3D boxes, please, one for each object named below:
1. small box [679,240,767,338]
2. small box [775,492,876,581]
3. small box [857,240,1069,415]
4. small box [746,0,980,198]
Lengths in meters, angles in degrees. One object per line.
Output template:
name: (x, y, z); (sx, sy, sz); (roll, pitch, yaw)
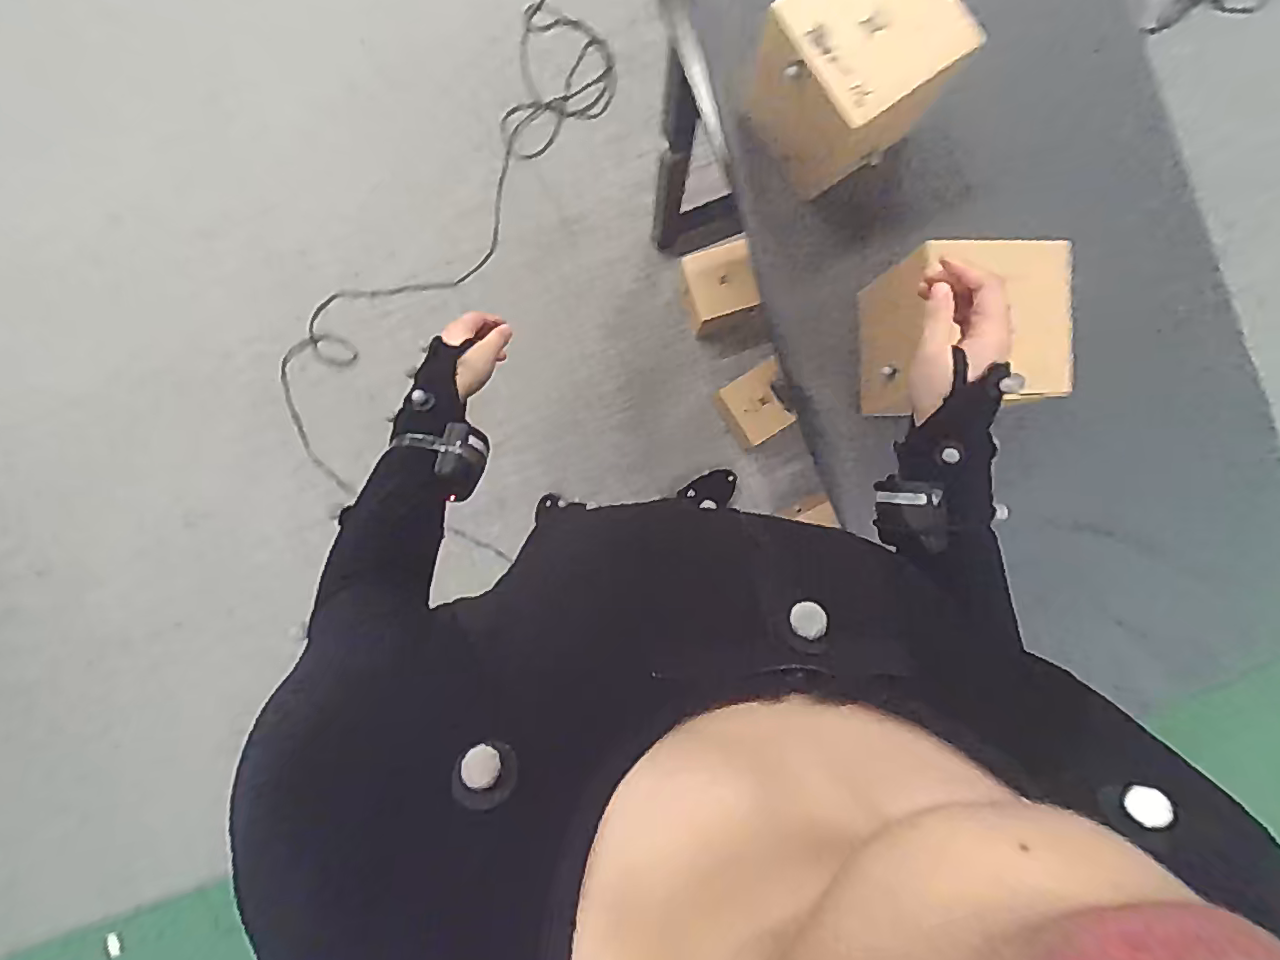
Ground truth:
small box: (0.206, -0.485, 1.399); (0.179, 0.176, 0.168); (-17, 91, -2)
small box: (0.470, 0.142, 1.407); (0.179, 0.176, 0.168); (-26, 92, -1)
small box: (0.388, -0.176, 0.675); (0.168, 0.176, 0.179); (-1, 89, -4)
small box: (0.256, -0.497, 0.667); (0.179, 0.176, 0.168); (-34, 90, -1)
